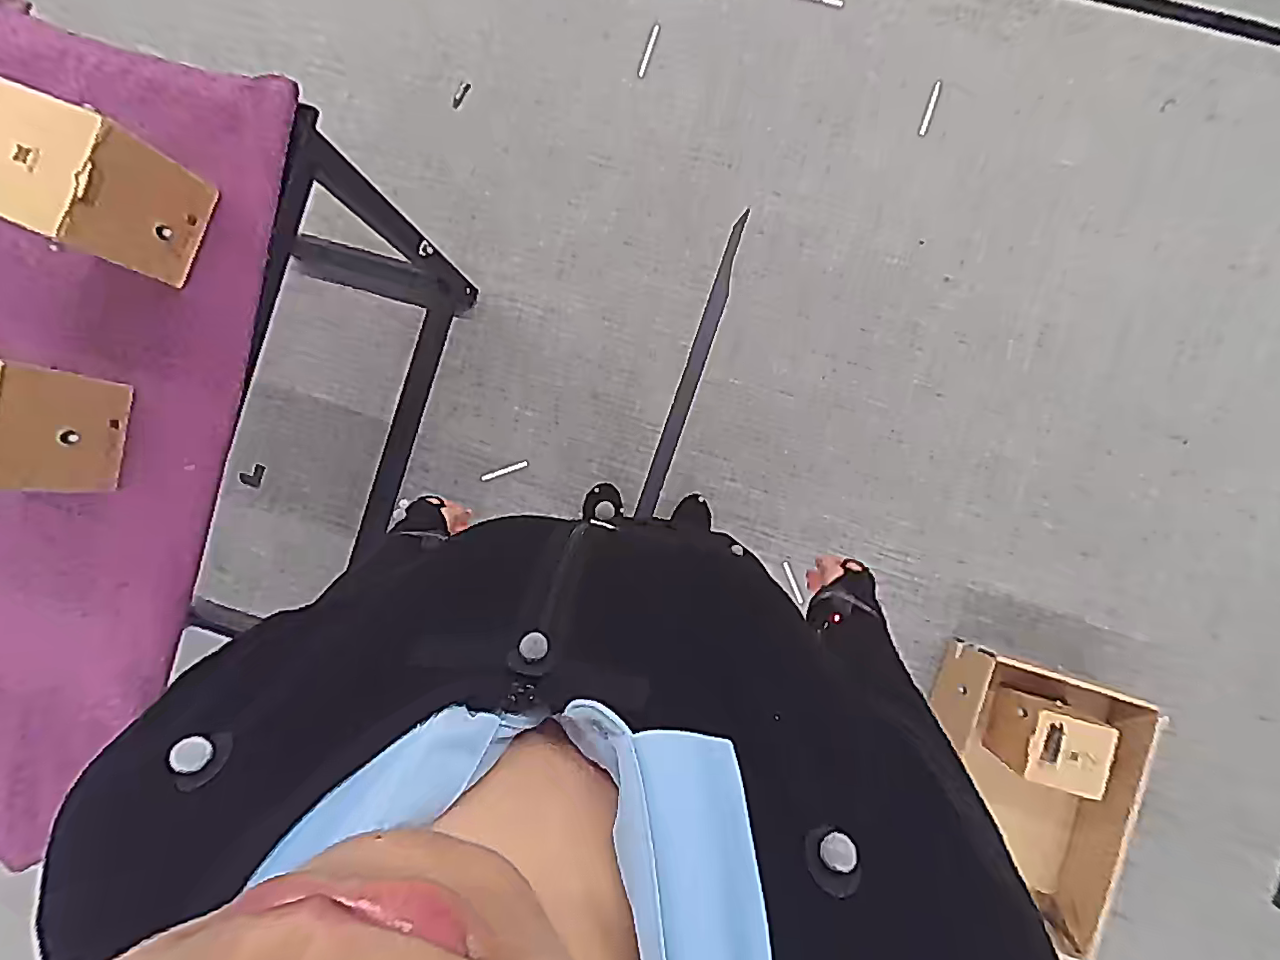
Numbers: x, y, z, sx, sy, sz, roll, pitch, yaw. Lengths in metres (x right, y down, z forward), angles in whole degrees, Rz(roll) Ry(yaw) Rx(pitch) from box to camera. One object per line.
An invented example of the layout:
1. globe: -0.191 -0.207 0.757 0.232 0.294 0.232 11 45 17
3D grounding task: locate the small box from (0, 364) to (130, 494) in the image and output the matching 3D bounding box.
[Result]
1. small box: -0.878 -0.075 0.754 0.179 0.176 0.168 9 88 5

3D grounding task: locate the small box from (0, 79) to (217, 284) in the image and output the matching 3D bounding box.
1. small box: -0.760 -0.400 0.756 0.179 0.176 0.168 22 90 5
